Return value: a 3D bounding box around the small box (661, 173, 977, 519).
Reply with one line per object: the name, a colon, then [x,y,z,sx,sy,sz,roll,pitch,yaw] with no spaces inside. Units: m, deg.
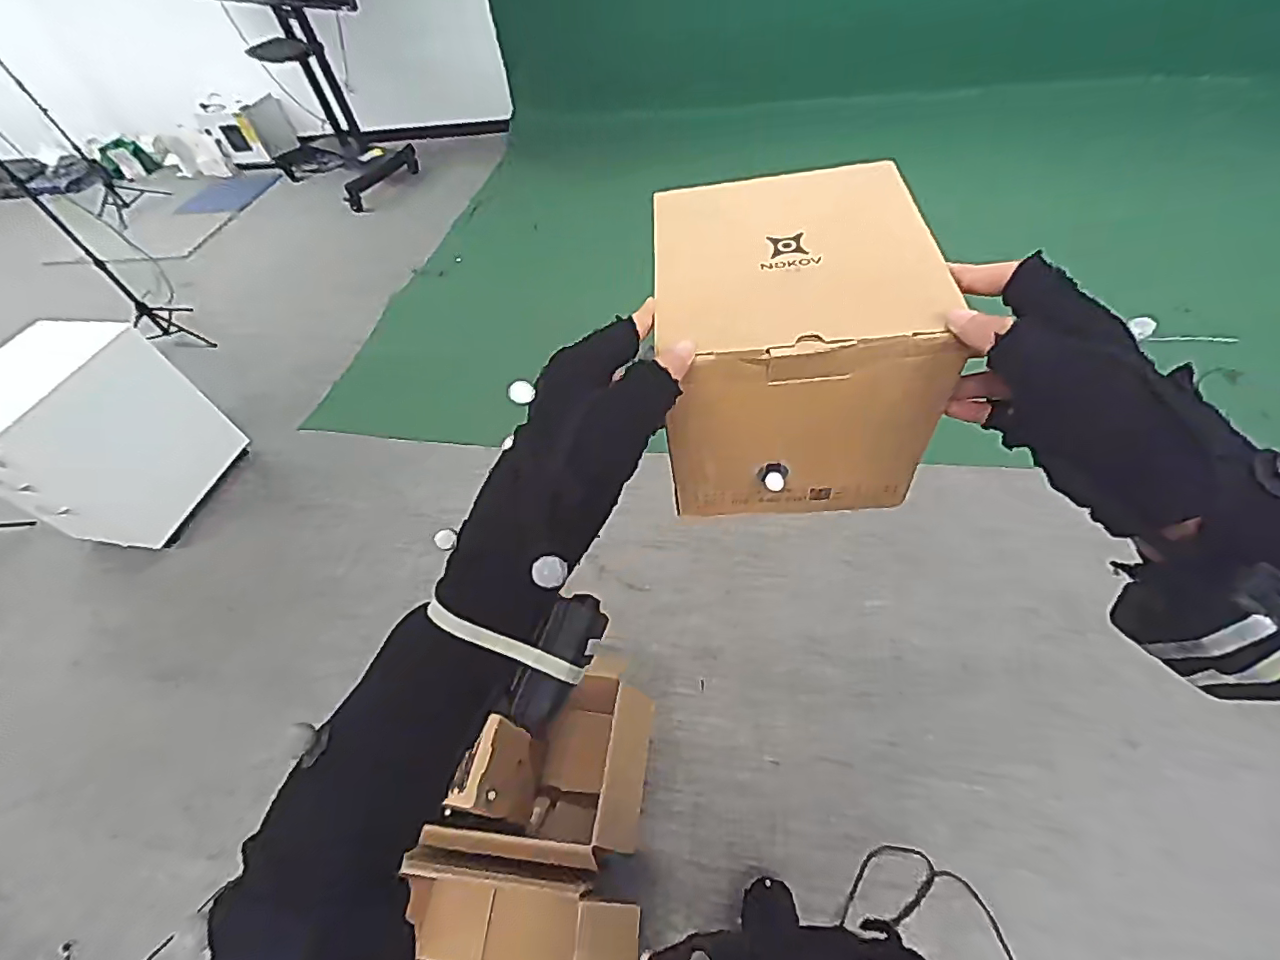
small box: [0.103,-0.090,0.397,0.168,0.176,0.179,-4,55,7]
